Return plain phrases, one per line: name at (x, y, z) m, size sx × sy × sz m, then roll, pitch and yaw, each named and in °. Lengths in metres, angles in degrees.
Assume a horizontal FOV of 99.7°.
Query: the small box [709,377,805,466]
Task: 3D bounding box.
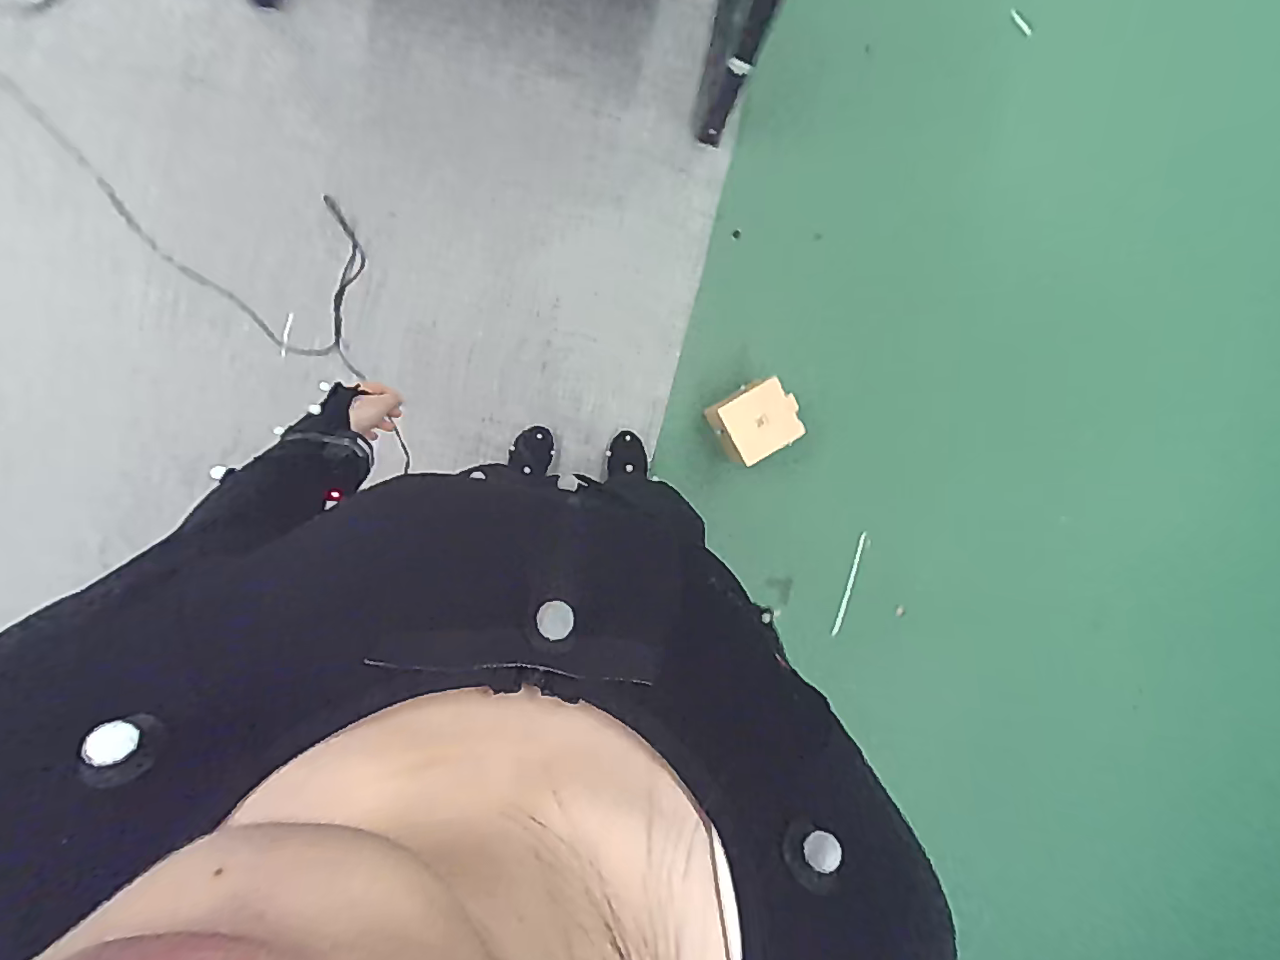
small box at (0.295, -0.152, 1.422) m, size 0.179 × 0.176 × 0.168 m, roll -30°, pitch 98°, yaw -2°
